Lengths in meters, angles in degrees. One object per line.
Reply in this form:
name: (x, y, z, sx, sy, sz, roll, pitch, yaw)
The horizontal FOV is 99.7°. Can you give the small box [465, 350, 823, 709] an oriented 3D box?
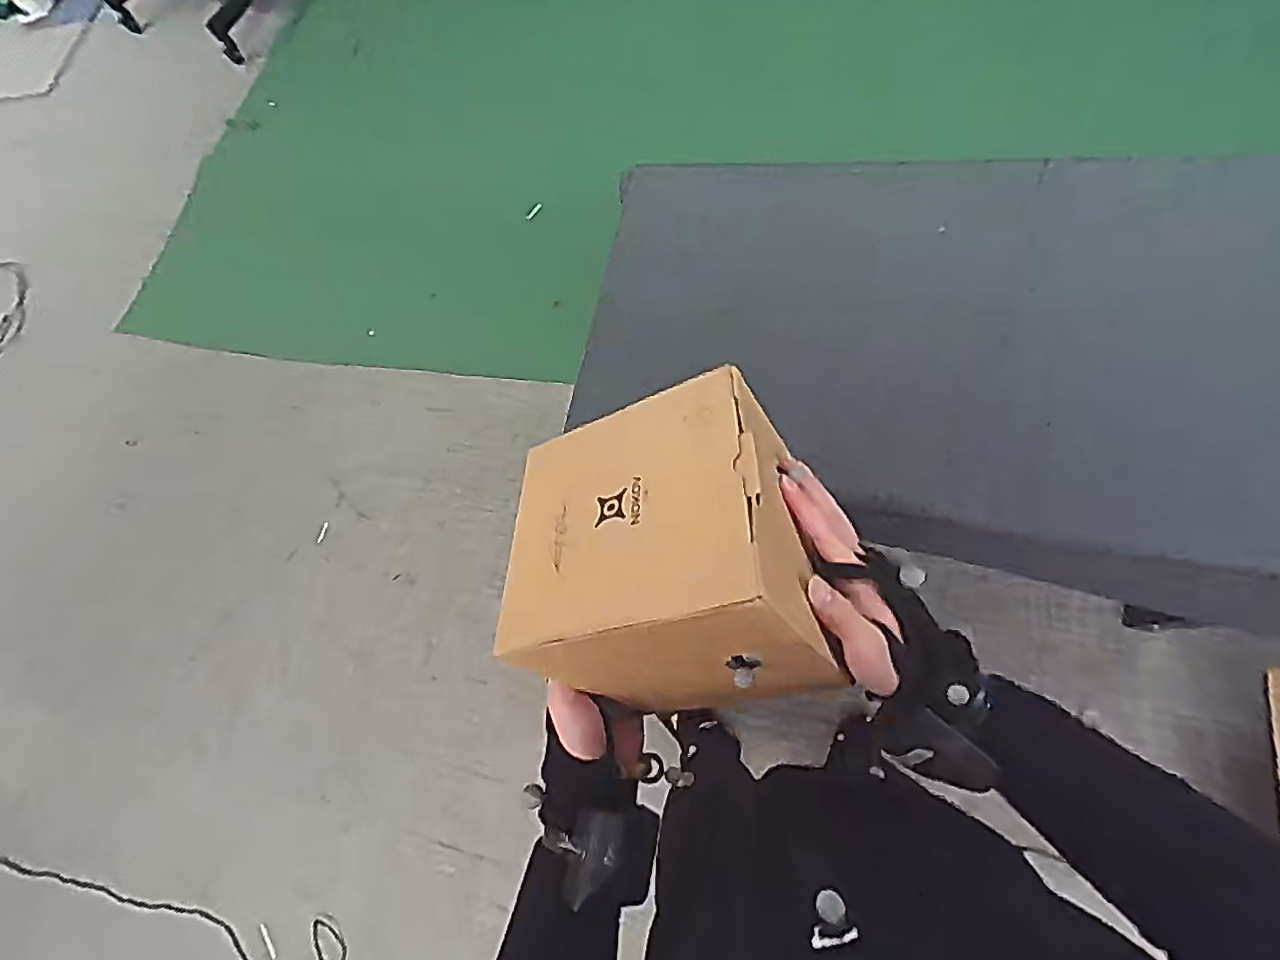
small box: (0.015, 0.049, 0.380, 0.179, 0.176, 0.168, -20, 47, 26)
